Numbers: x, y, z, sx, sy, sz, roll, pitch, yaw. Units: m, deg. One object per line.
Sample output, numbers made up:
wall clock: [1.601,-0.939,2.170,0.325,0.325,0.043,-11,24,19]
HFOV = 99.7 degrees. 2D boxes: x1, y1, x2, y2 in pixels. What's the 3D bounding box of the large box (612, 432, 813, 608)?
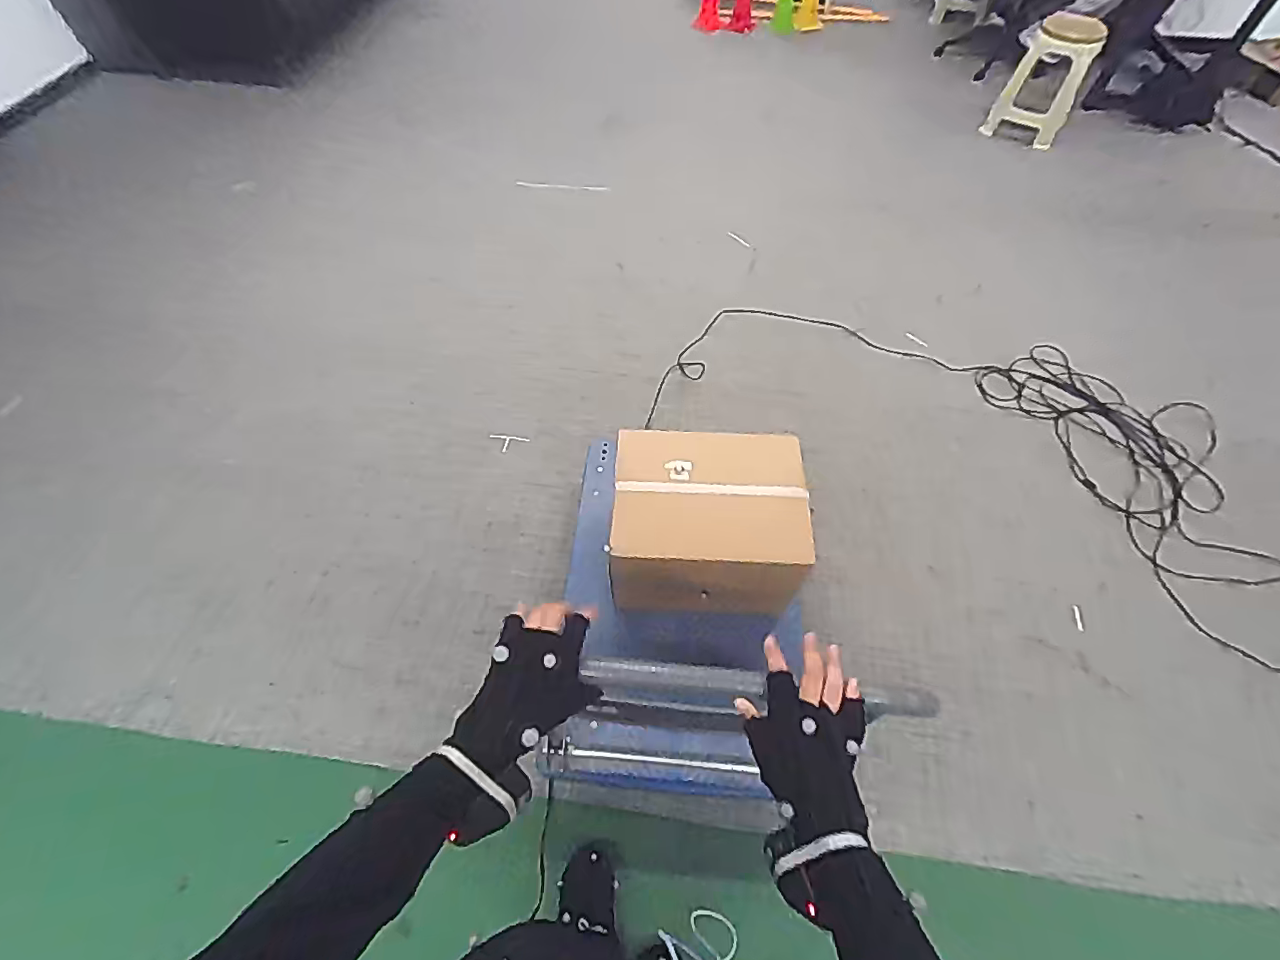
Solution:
large box: [0.150,0.103,1.268,0.408,0.320,0.320,2,57,2]
